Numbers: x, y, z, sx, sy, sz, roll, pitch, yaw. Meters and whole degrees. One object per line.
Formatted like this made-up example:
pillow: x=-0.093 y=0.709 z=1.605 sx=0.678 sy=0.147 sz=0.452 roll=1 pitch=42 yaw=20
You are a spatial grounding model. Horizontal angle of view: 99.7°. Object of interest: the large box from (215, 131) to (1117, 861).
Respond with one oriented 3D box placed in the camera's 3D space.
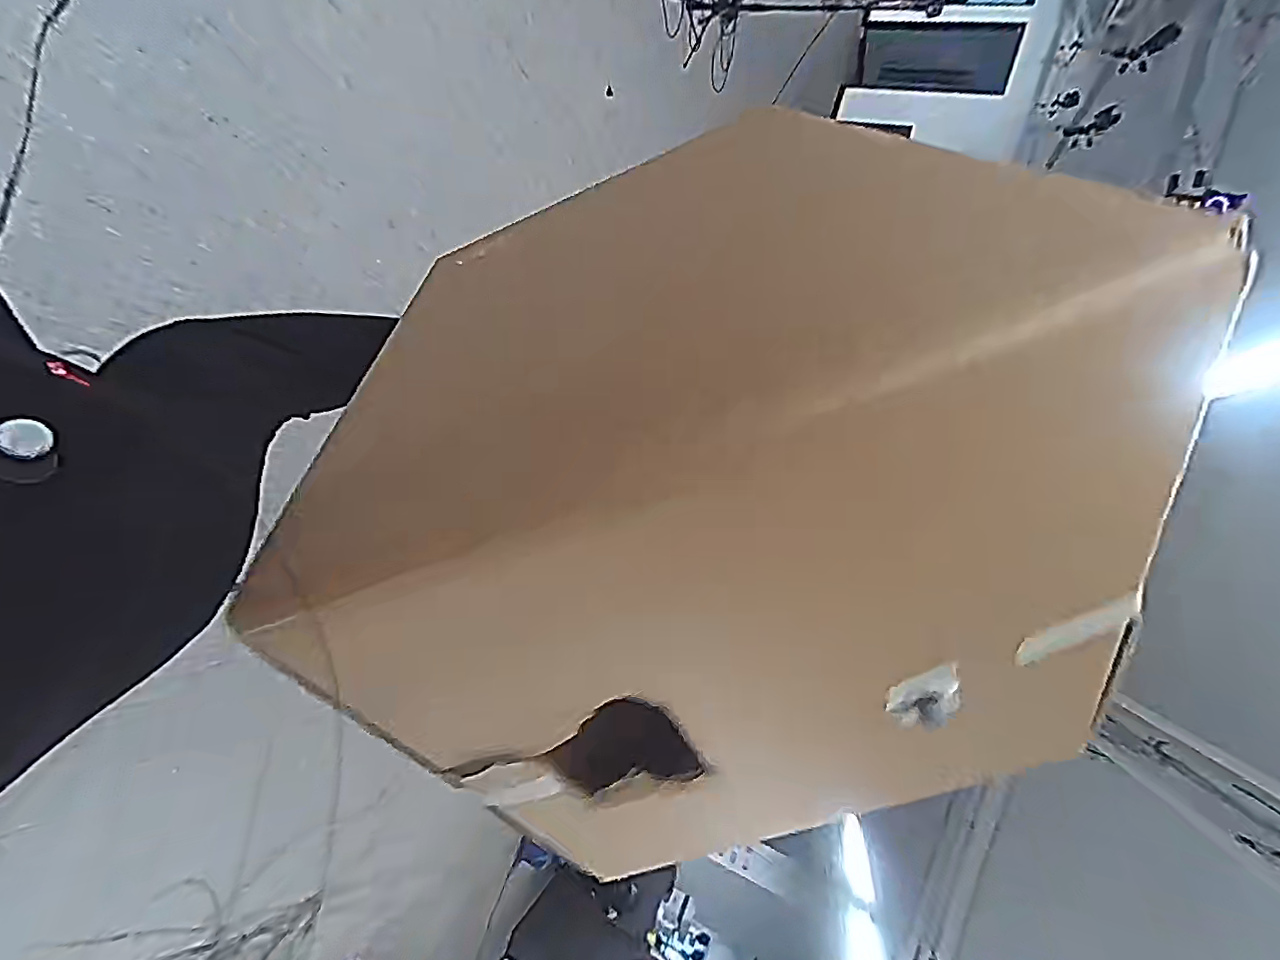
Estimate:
large box: x=0.030 y=-0.018 z=0.405 sx=0.408 sy=0.320 sz=0.320 roll=-97 pitch=167 yaw=-52
